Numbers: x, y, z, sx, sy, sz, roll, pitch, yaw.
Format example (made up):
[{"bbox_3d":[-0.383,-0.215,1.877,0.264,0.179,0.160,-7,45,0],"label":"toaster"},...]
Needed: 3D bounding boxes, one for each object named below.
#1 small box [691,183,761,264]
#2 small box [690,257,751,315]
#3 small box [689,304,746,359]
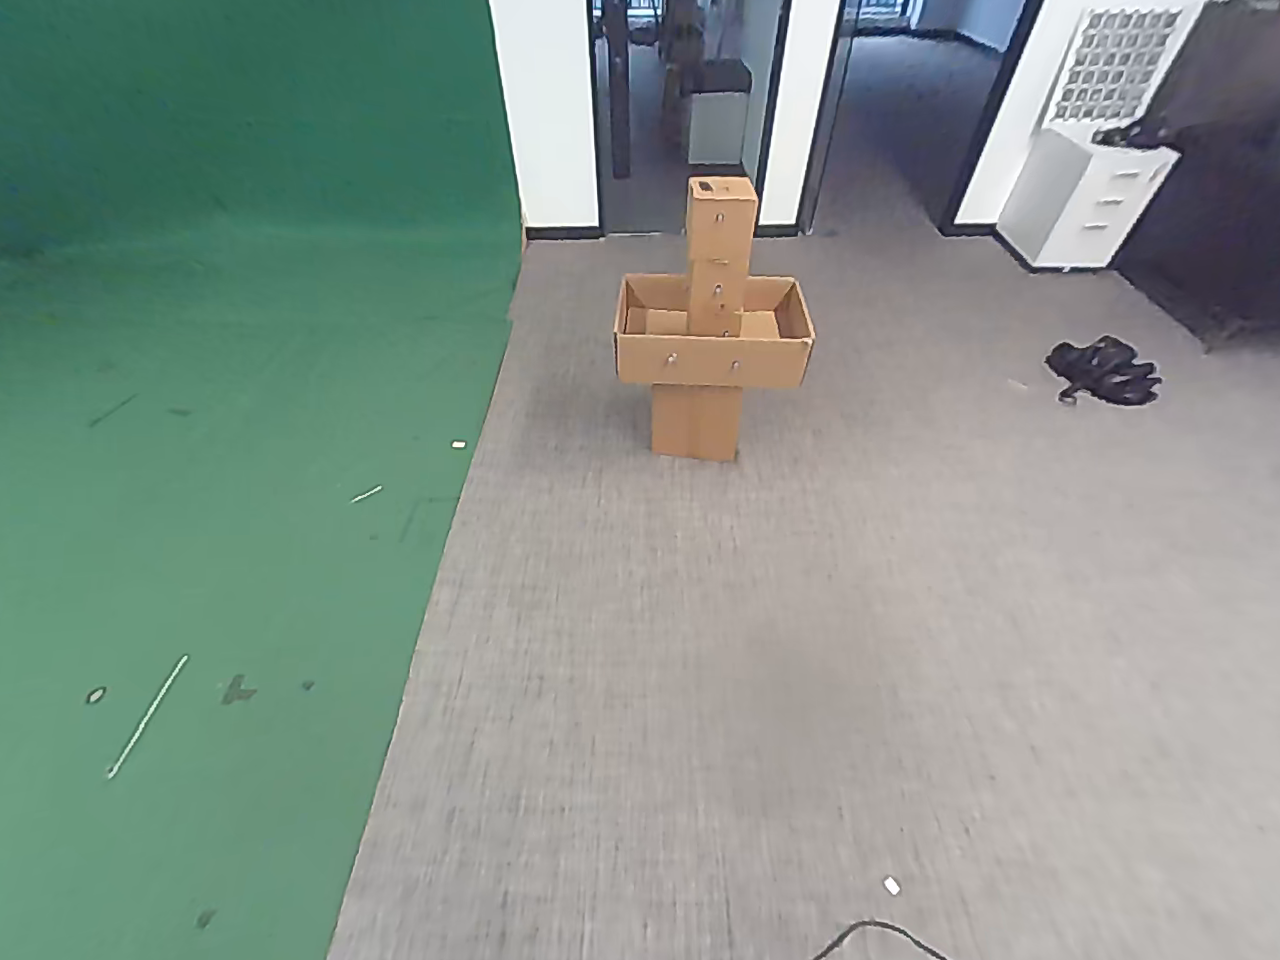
[{"bbox_3d":[0.242,-0.744,1.572,0.179,0.176,0.168,0,47,-1],"label":"small box"},{"bbox_3d":[0.249,-0.634,1.695,0.168,0.176,0.179,1,48,0],"label":"small box"},{"bbox_3d":[0.255,-0.520,1.813,0.168,0.176,0.179,1,45,0],"label":"small box"}]
